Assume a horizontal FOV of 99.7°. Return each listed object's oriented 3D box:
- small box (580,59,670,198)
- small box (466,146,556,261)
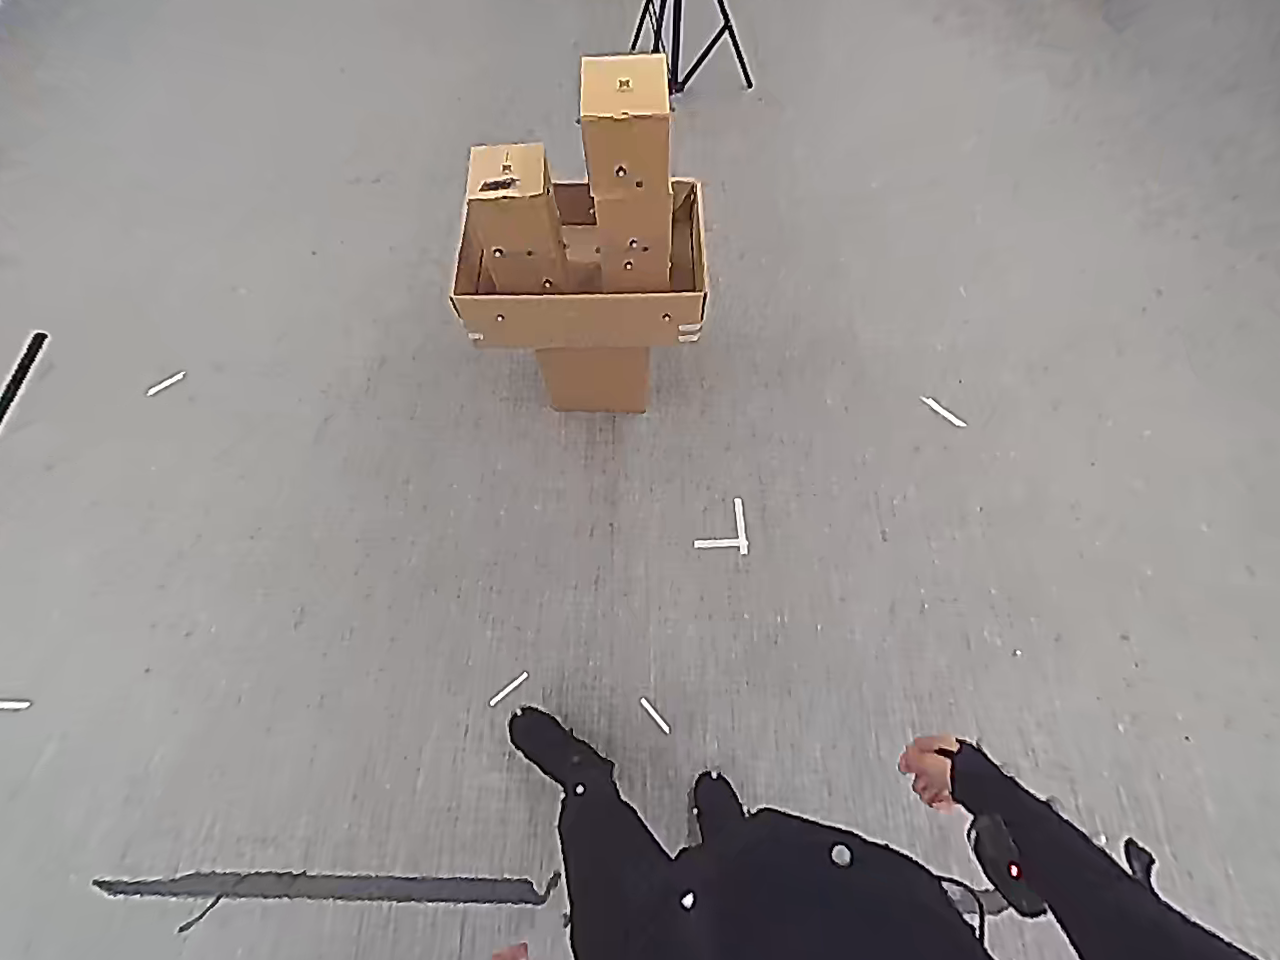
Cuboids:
[{"bbox_3d":[-0.028,-0.698,1.083,0.168,0.176,0.179,-2,68,1],"label":"small box"},{"bbox_3d":[-0.287,-0.623,1.237,0.168,0.176,0.179,-4,65,-1],"label":"small box"}]
